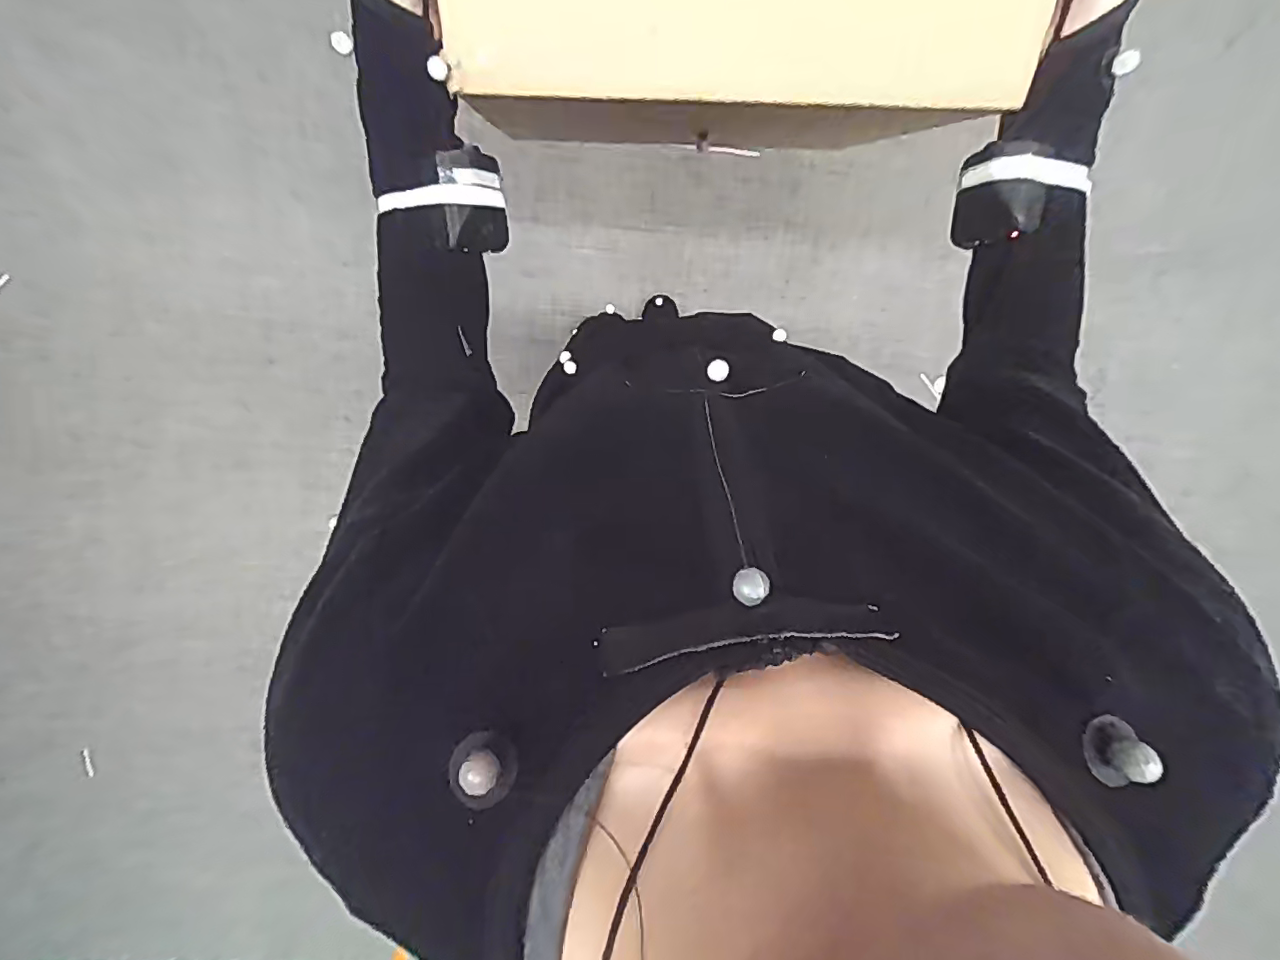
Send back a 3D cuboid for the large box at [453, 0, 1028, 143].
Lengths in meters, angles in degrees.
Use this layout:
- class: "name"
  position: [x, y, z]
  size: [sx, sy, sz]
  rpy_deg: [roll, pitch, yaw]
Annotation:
- class: "large box"
  position: [0.066, -0.477, 0.456]
  size: [0.408, 0.320, 0.320]
  rpy_deg: [-1, 116, -4]
